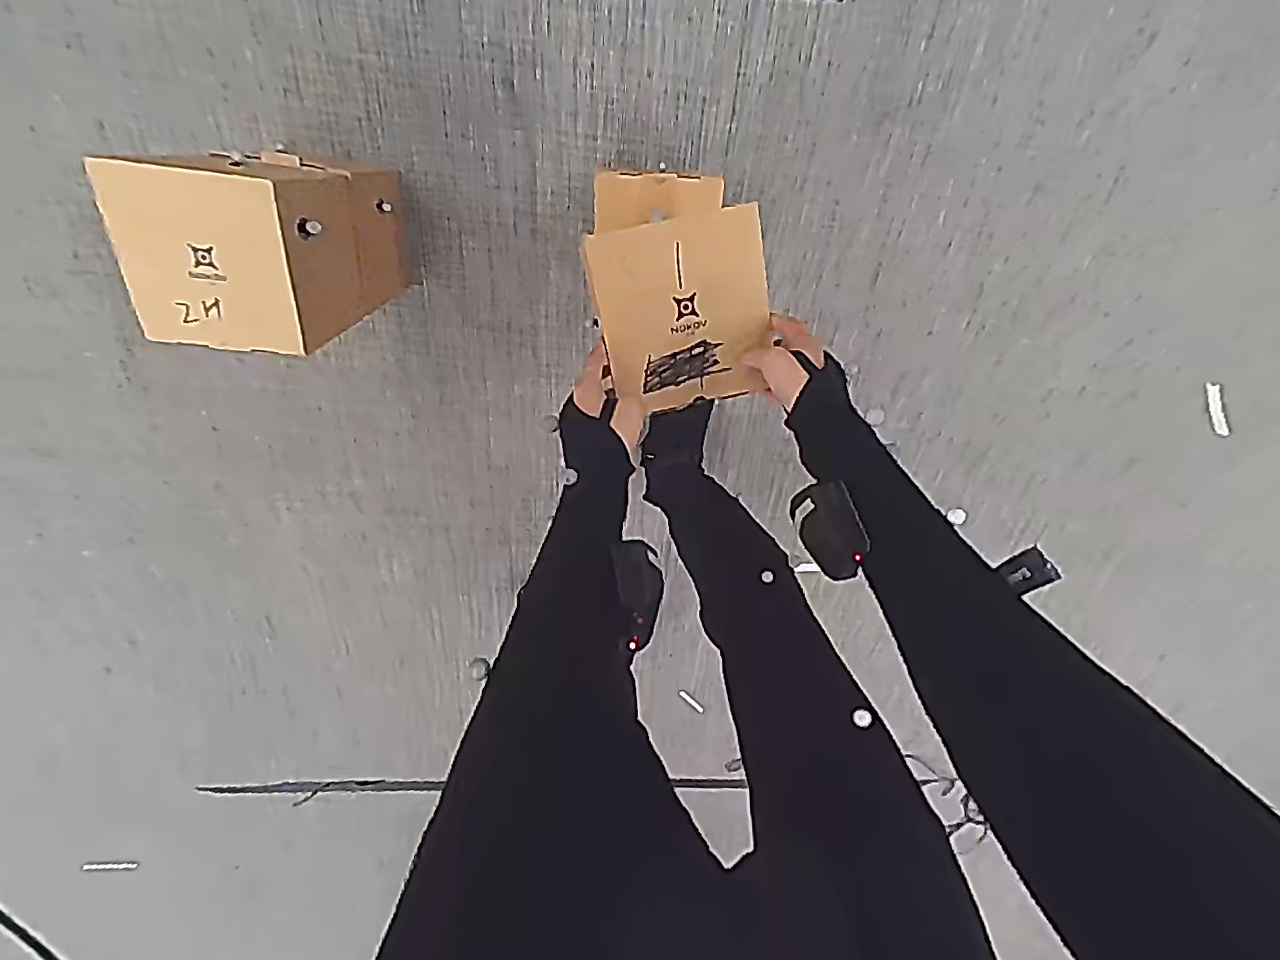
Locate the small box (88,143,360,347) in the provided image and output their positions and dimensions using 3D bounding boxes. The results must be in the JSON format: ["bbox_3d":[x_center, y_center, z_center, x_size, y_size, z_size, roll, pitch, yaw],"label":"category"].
[{"bbox_3d":[-0.442,-0.268,0.614,0.168,0.176,0.179,5,121,-6],"label":"small box"}]

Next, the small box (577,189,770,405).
[{"bbox_3d":[0.031,-0.199,0.596,0.168,0.176,0.179,-13,110,-2],"label":"small box"}]

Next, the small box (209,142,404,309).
[{"bbox_3d":[-0.444,-0.355,0.754,0.168,0.176,0.179,6,120,-6],"label":"small box"}]

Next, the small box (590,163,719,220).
[{"bbox_3d":[0.012,-0.356,0.788,0.168,0.176,0.179,0,120,-4],"label":"small box"}]
